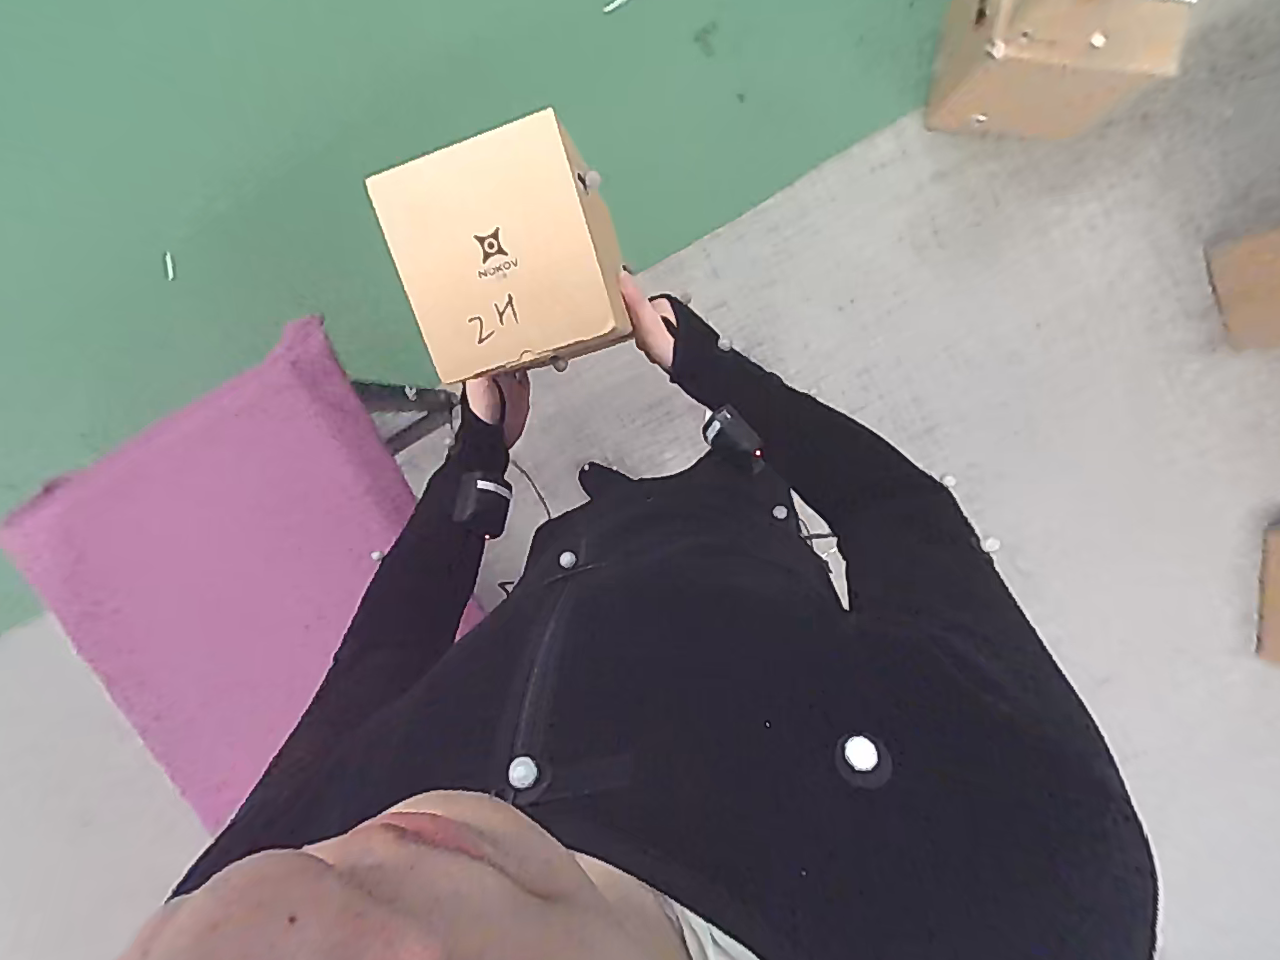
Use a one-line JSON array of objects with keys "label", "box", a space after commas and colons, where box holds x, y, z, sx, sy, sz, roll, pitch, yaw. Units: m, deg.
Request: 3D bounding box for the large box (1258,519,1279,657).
[{"label": "large box", "box": [1.989, 0.318, 1.455, 0.320, 0.320, 0.408, -5, 96, 2]}]

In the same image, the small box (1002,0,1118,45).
[{"label": "small box", "box": [0.865, -1.021, 1.077, 0.168, 0.176, 0.179, 10, 97, -1]}]
